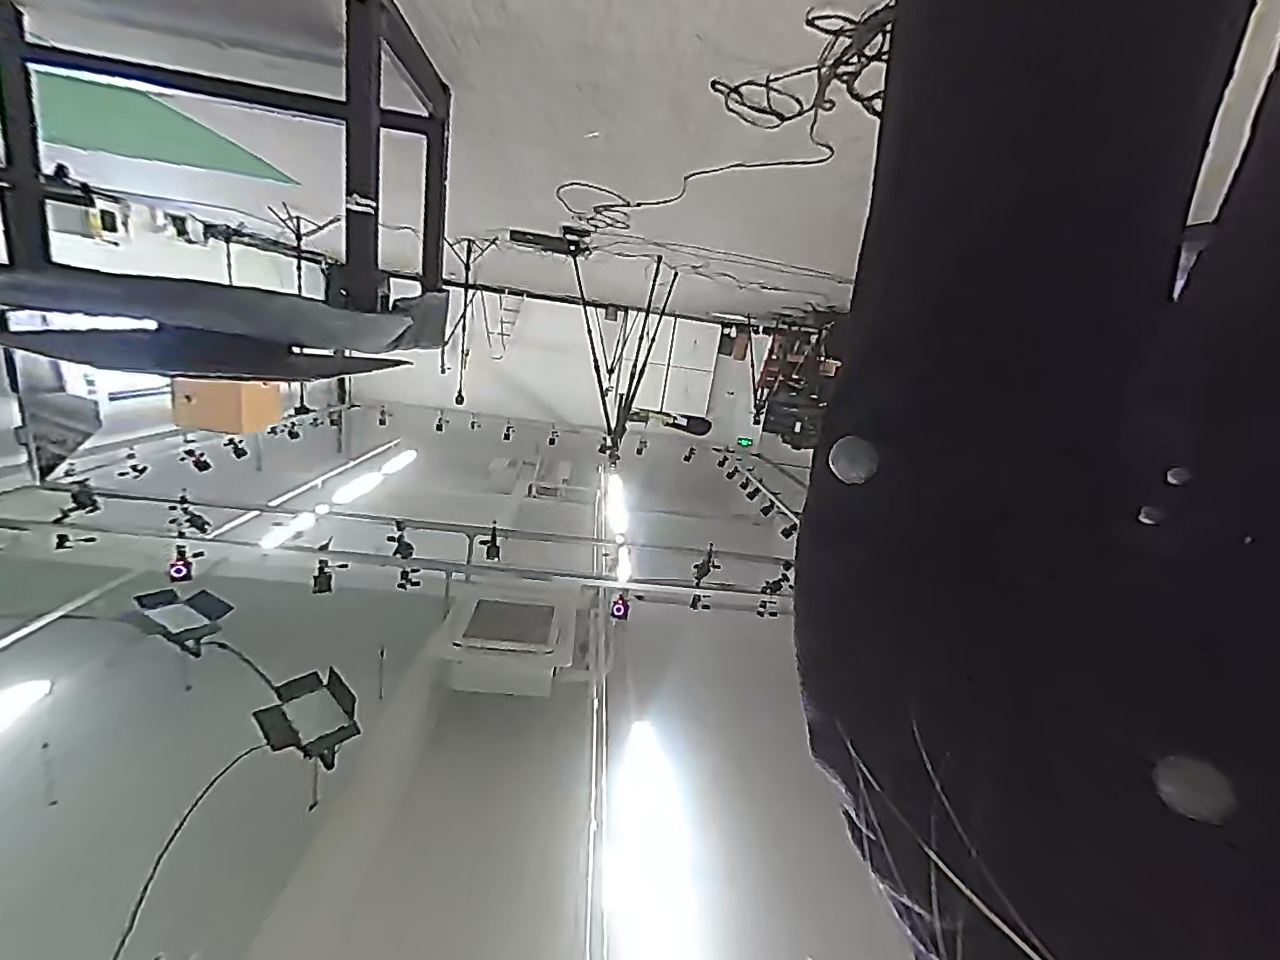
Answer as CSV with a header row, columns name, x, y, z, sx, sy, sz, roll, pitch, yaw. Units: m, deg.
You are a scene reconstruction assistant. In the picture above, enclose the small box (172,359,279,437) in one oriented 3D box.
name,x,y,z,sx,sy,sz,roll,pitch,yaw
small box,-1.095,-0.224,1.435,0.179,0.176,0.168,7,-163,-4
